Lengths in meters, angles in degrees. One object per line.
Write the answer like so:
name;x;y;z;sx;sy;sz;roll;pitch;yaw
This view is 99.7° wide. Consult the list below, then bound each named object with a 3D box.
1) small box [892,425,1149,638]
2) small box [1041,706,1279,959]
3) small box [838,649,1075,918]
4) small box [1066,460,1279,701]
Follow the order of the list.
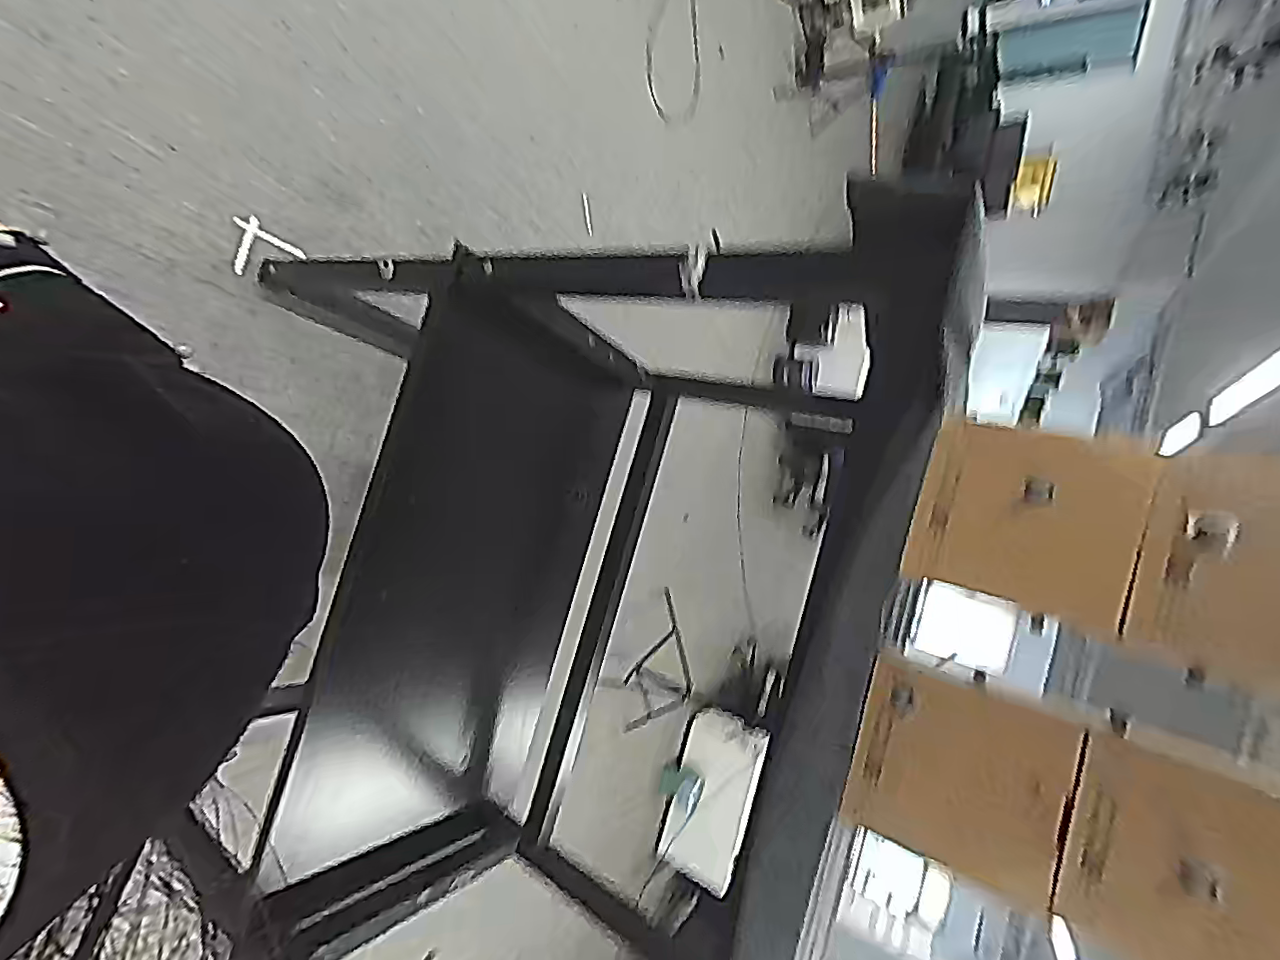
small box;0.368;0.050;0.555;0.179;0.176;0.168;22;84;-61
small box;0.454;0.323;0.485;0.179;0.176;0.168;28;79;-60
small box;0.314;0.287;0.563;0.179;0.176;0.168;27;79;-61
small box;0.504;0.089;0.476;0.179;0.176;0.168;26;79;-60
